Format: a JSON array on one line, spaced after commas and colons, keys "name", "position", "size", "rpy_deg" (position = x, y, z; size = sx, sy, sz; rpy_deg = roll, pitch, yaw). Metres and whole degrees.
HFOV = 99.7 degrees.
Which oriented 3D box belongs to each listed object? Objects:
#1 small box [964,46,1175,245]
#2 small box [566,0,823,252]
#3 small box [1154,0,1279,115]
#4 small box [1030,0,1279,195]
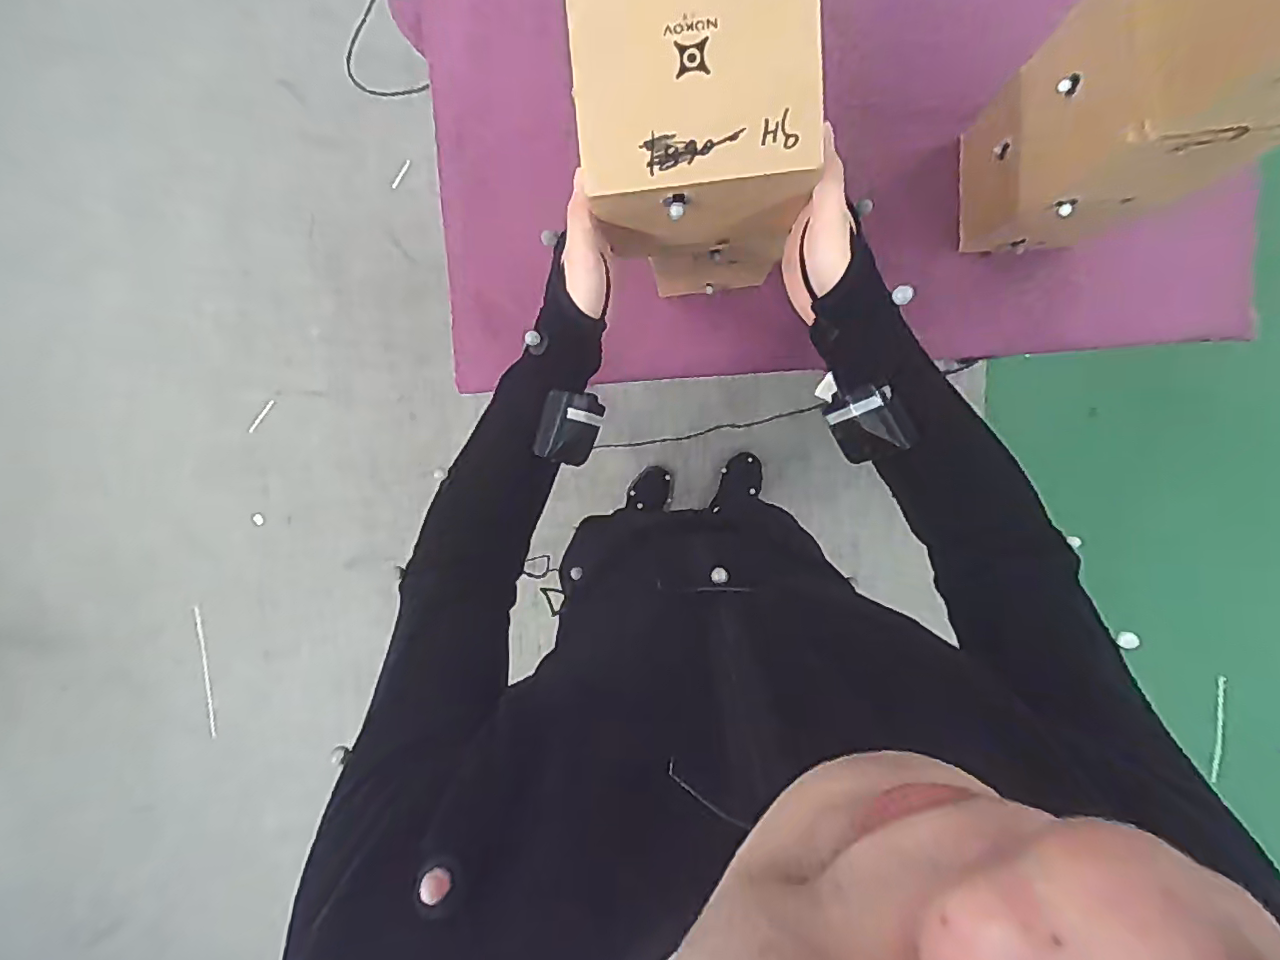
[{"name": "small box", "position": [0.553, -0.431, 0.712], "size": [0.168, 0.176, 0.179], "rpy_deg": [-1, 96, 8]}, {"name": "small box", "position": [0.042, -0.300, 0.428], "size": [0.168, 0.176, 0.179], "rpy_deg": [-3, 98, 7]}, {"name": "small box", "position": [0.525, -0.398, 0.389], "size": [0.168, 0.176, 0.179], "rpy_deg": [-3, 94, 8]}, {"name": "small box", "position": [0.533, -0.412, 0.551], "size": [0.168, 0.176, 0.179], "rpy_deg": [-1, 94, 8]}]
